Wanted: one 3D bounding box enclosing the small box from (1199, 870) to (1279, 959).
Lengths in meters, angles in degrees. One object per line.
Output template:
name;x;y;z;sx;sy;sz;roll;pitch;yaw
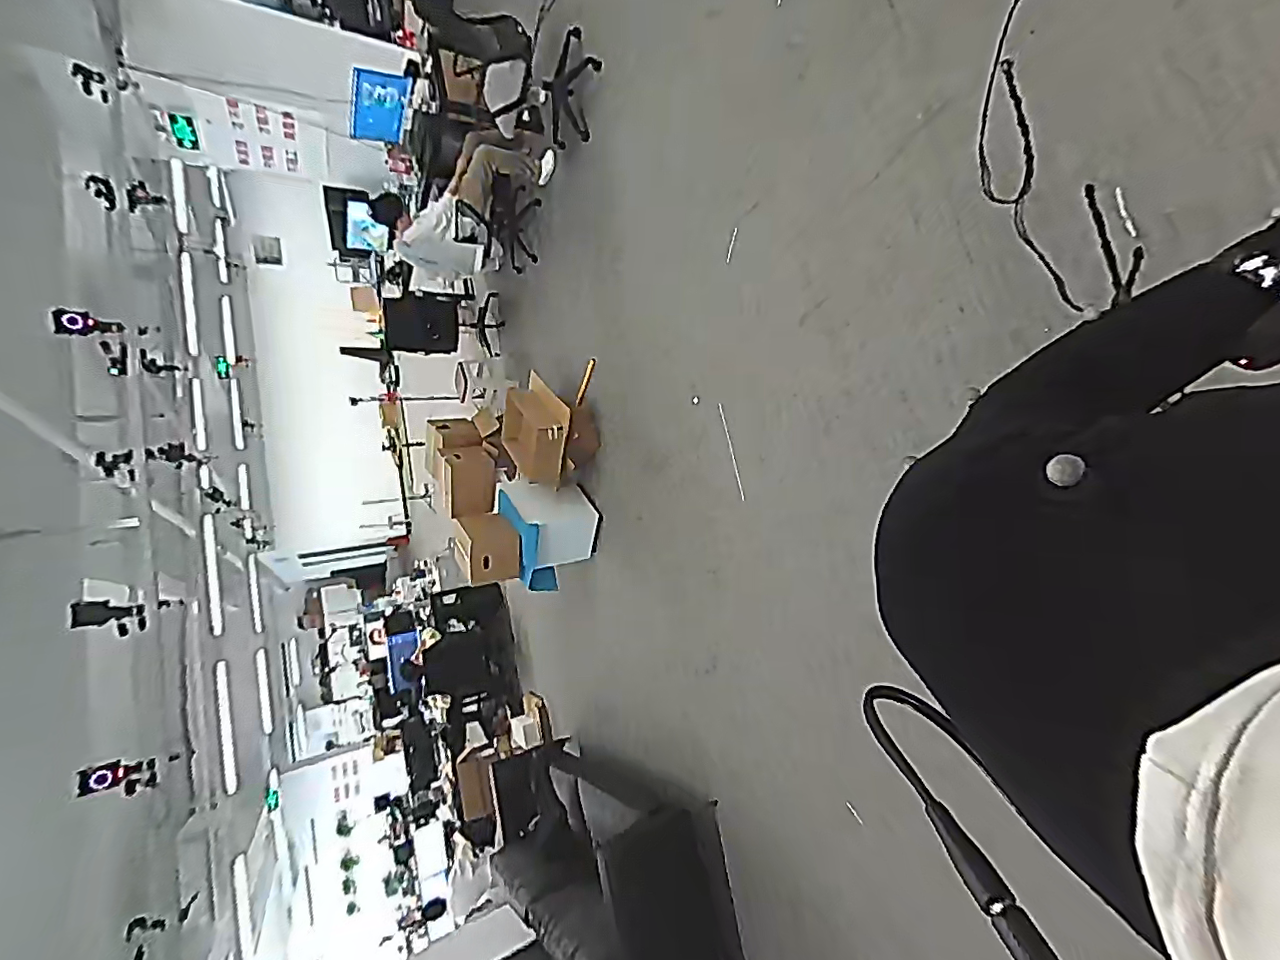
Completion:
small box;1.195;0.868;0.999;0.179;0.176;0.168;-13;85;59
